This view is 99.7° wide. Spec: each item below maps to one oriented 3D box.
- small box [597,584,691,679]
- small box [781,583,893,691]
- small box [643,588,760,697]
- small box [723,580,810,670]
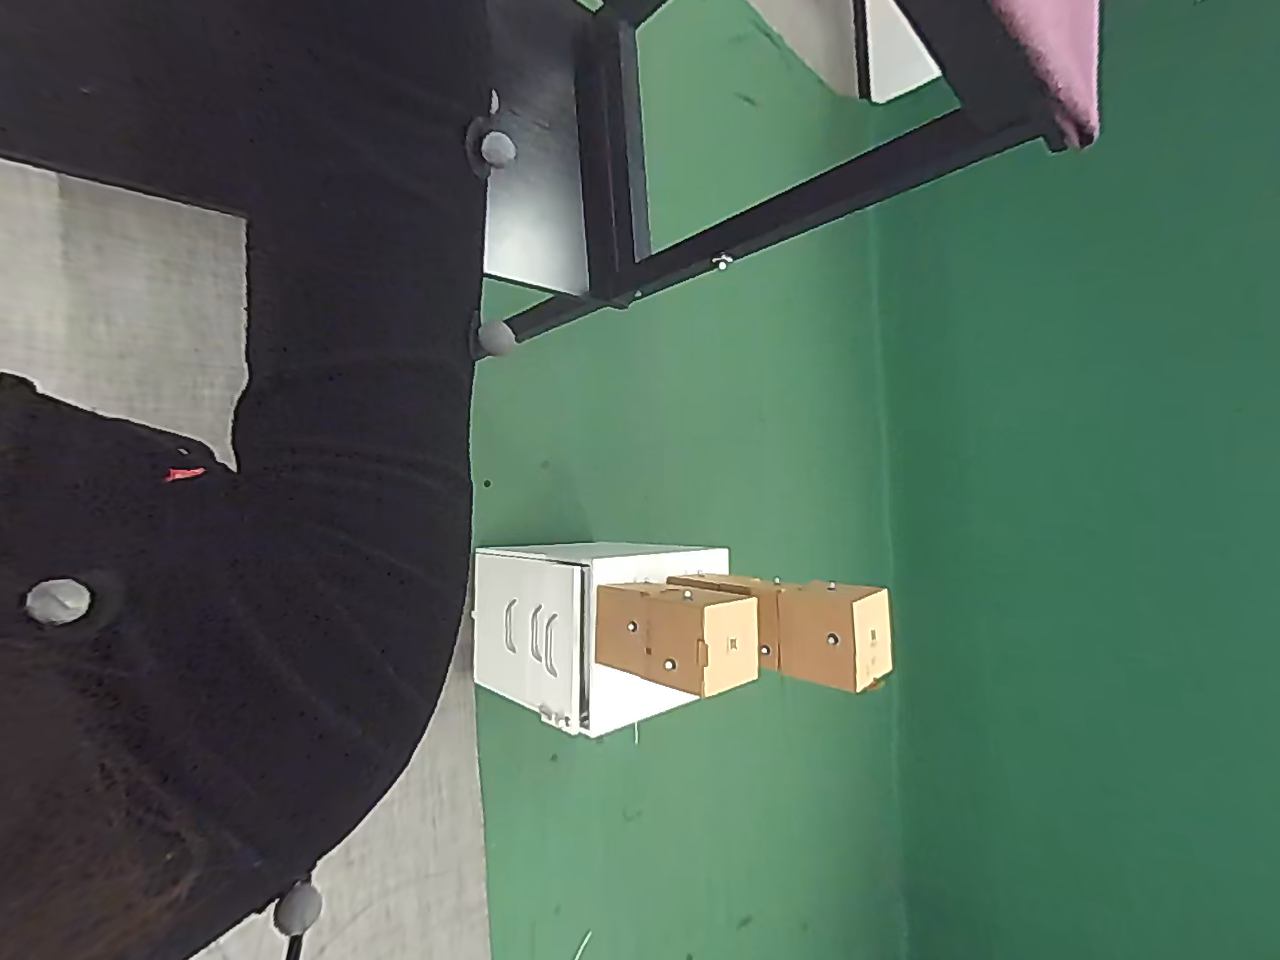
[{"bbox_3d":[0.019,0.327,1.208,0.168,0.176,0.179,7,84,-44],"label":"small box"},{"bbox_3d":[0.410,0.315,1.134,0.168,0.176,0.179,-3,90,-43],"label":"small box"},{"bbox_3d":[0.120,0.314,1.080,0.179,0.176,0.168,2,87,-45],"label":"small box"},{"bbox_3d":[0.299,0.326,1.256,0.168,0.176,0.179,7,83,-44],"label":"small box"}]
